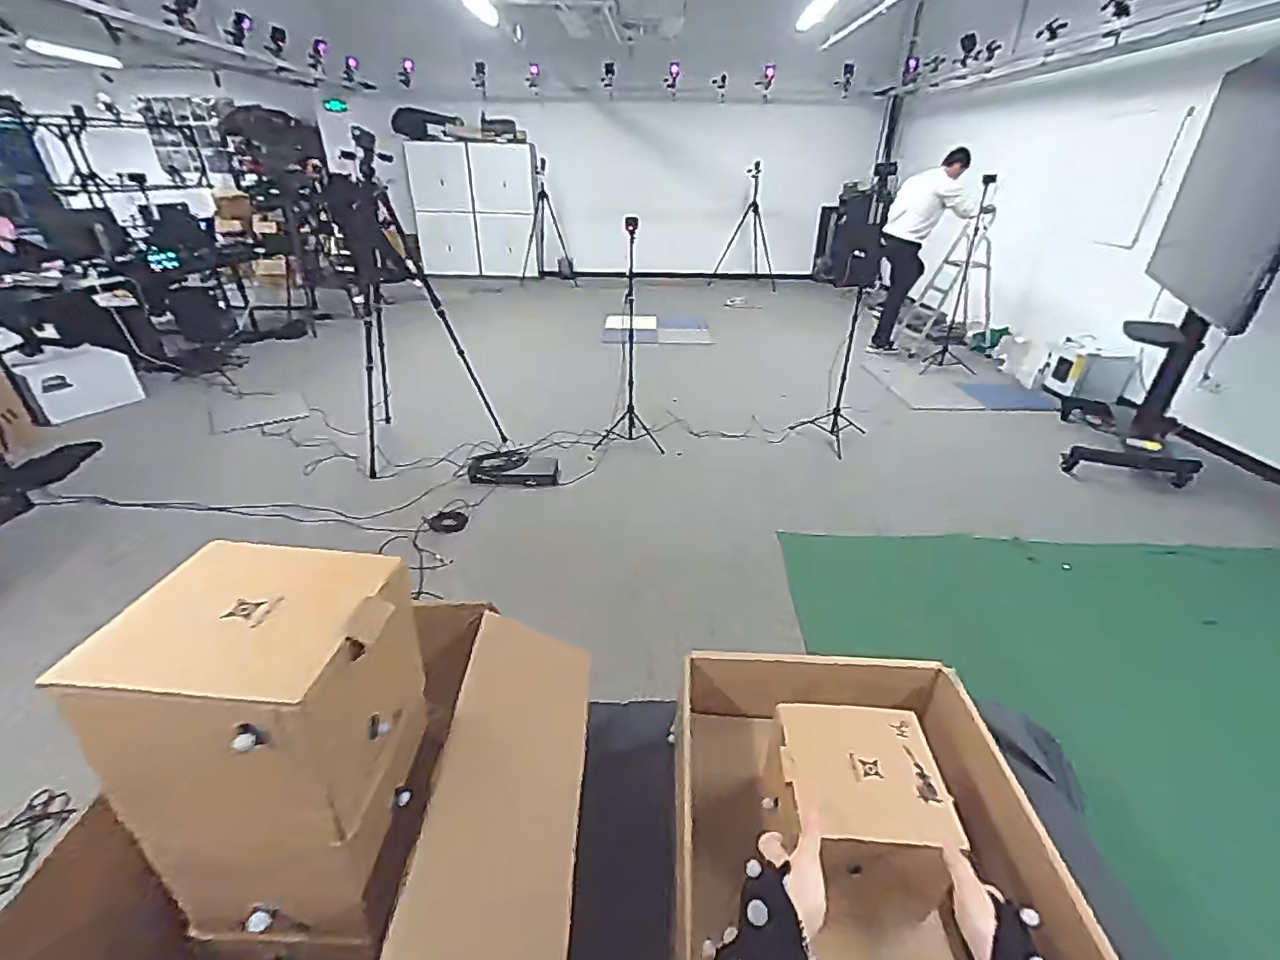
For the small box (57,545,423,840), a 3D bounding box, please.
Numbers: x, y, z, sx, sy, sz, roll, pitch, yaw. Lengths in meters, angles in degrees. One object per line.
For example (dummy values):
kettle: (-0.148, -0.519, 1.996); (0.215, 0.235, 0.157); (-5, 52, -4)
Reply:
small box: (-0.306, 0.176, 0.464); (0.179, 0.176, 0.168); (5, 28, -1)
